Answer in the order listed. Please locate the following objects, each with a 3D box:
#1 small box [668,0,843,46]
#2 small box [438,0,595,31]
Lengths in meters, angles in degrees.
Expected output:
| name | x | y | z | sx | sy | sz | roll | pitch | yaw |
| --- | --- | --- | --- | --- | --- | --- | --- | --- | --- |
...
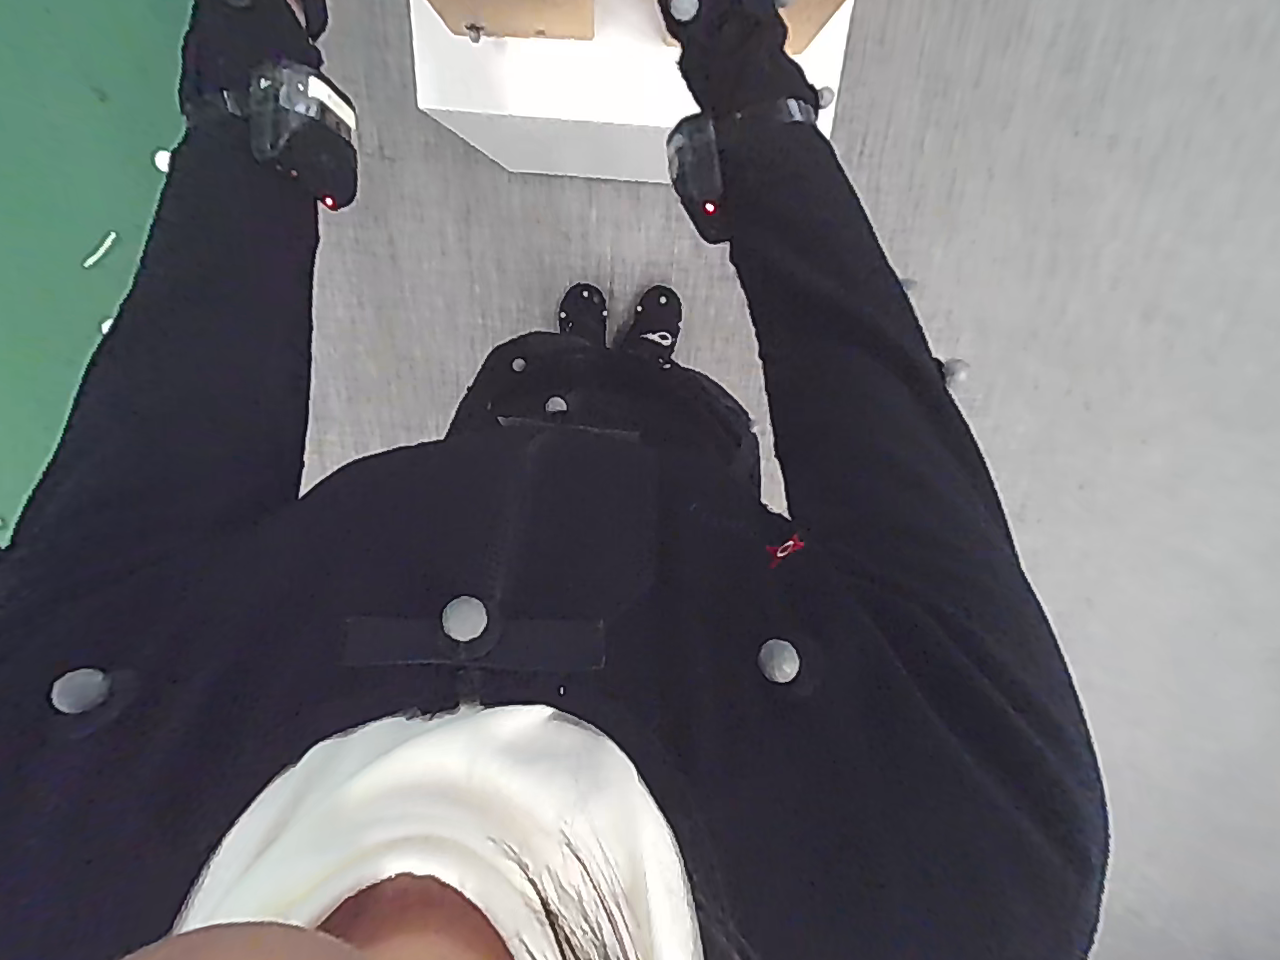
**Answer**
| name | x | y | z | sx | sy | sz | roll | pitch | yaw |
| --- | --- | --- | --- | --- | --- | --- | --- | --- | --- |
| small box | 0.114 | -0.551 | 0.514 | 0.168 | 0.176 | 0.179 | 1 | 114 | 0 |
| small box | -0.132 | -0.567 | 0.519 | 0.168 | 0.176 | 0.179 | 0 | 112 | -1 |
